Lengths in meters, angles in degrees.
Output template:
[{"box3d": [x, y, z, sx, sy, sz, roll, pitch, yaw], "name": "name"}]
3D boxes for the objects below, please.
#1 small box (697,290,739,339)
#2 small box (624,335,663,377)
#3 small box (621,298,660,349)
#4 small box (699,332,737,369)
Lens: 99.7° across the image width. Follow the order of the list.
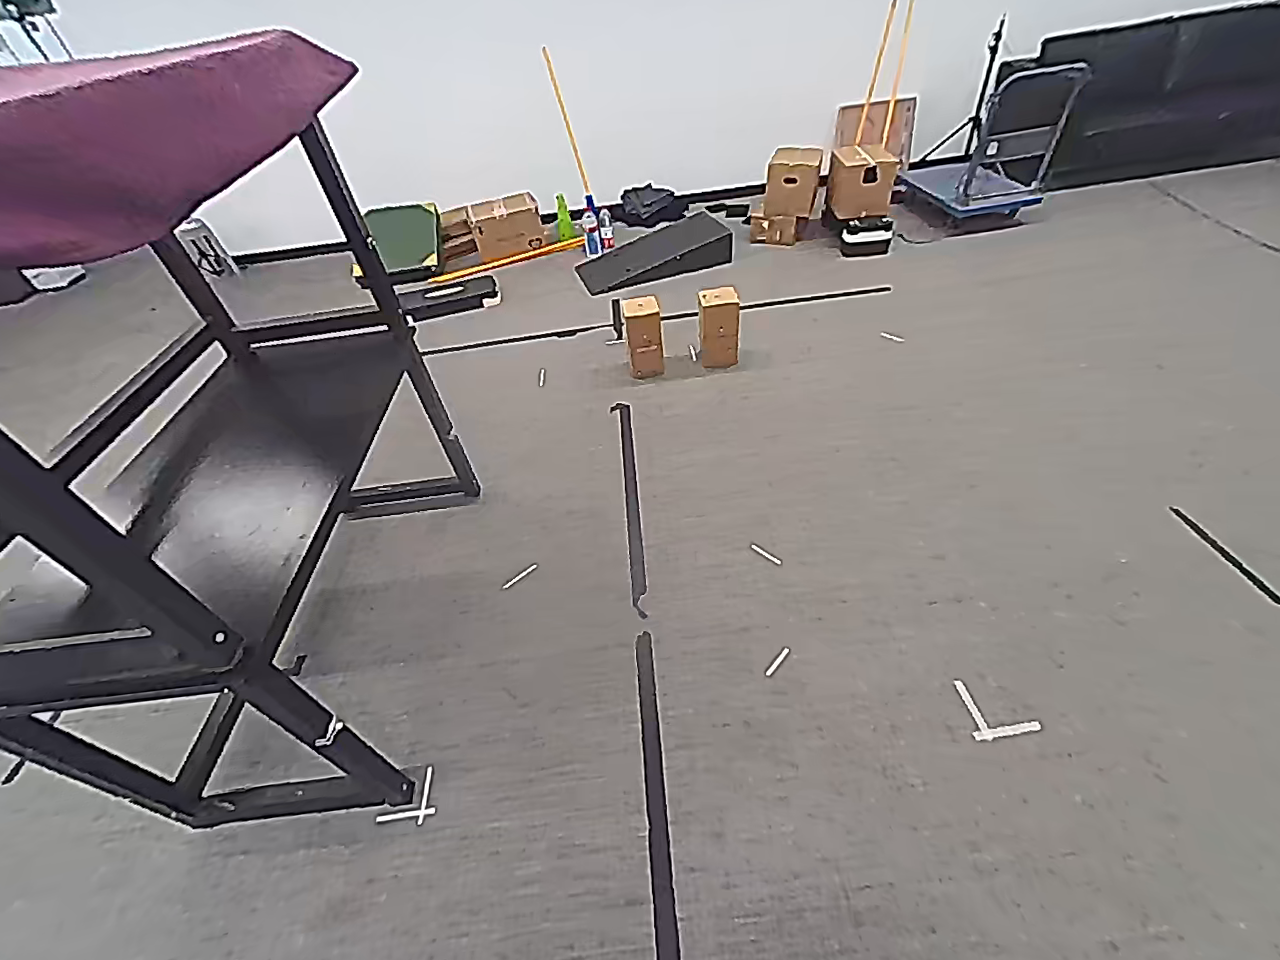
[{"box3d": [0.373, -0.800, 2.619, 0.179, 0.176, 0.168, -6, 42, 1], "name": "small box"}, {"box3d": [0.018, -0.632, 2.728, 0.168, 0.176, 0.179, -11, 43, -4], "name": "small box"}, {"box3d": [0.003, -0.757, 2.621, 0.168, 0.176, 0.179, -10, 43, -2], "name": "small box"}, {"box3d": [0.391, -0.680, 2.729, 0.179, 0.176, 0.168, -6, 43, 3], "name": "small box"}]
